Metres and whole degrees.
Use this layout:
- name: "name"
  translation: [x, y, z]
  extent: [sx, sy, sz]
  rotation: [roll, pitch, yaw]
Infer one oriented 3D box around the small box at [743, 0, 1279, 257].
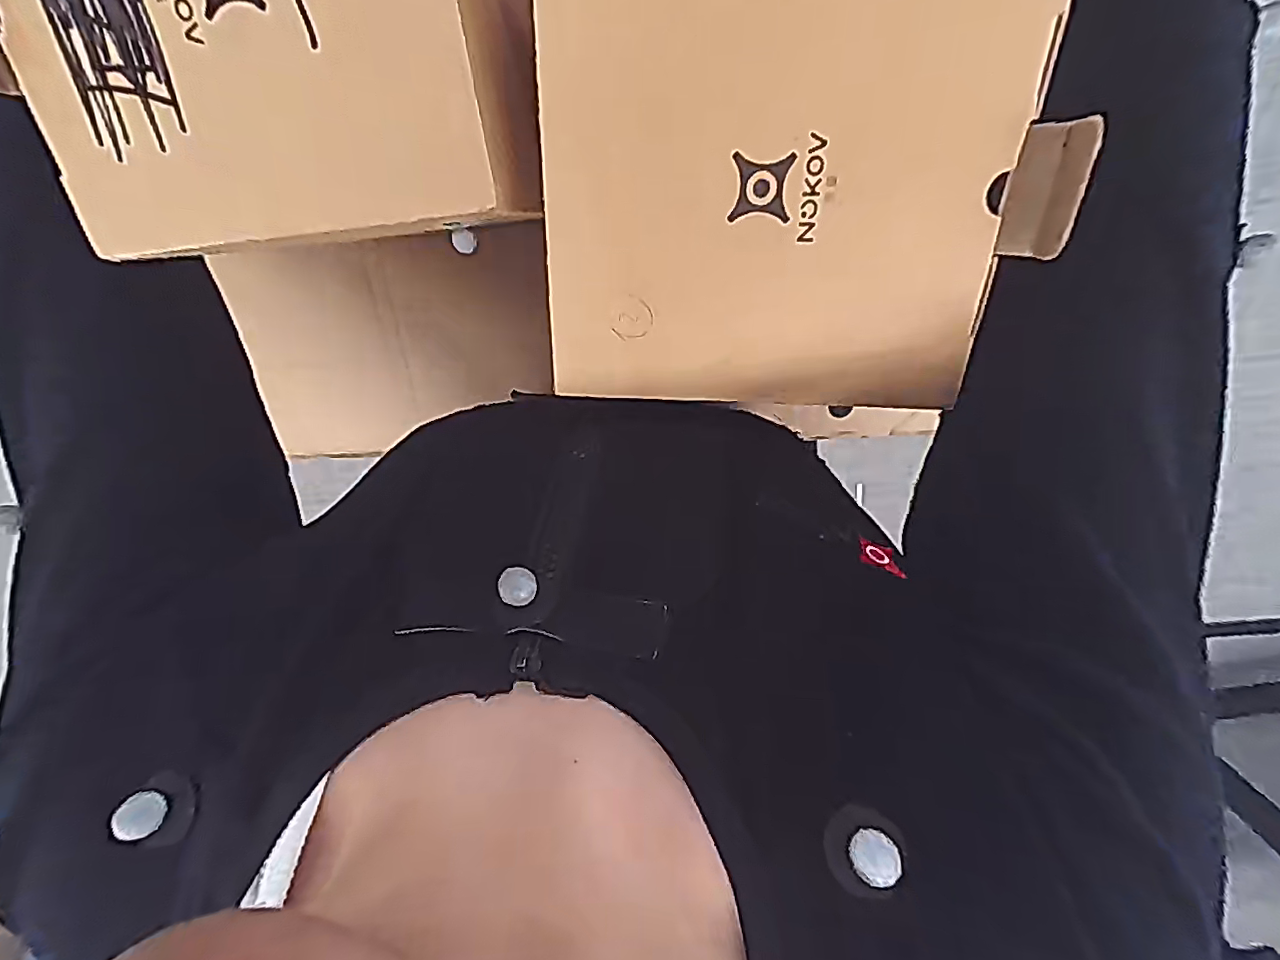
- name: "small box"
  translation: [0.154, -0.206, 0.221]
  extent: [0.179, 0.176, 0.168]
  rotation: [14, 122, -3]
